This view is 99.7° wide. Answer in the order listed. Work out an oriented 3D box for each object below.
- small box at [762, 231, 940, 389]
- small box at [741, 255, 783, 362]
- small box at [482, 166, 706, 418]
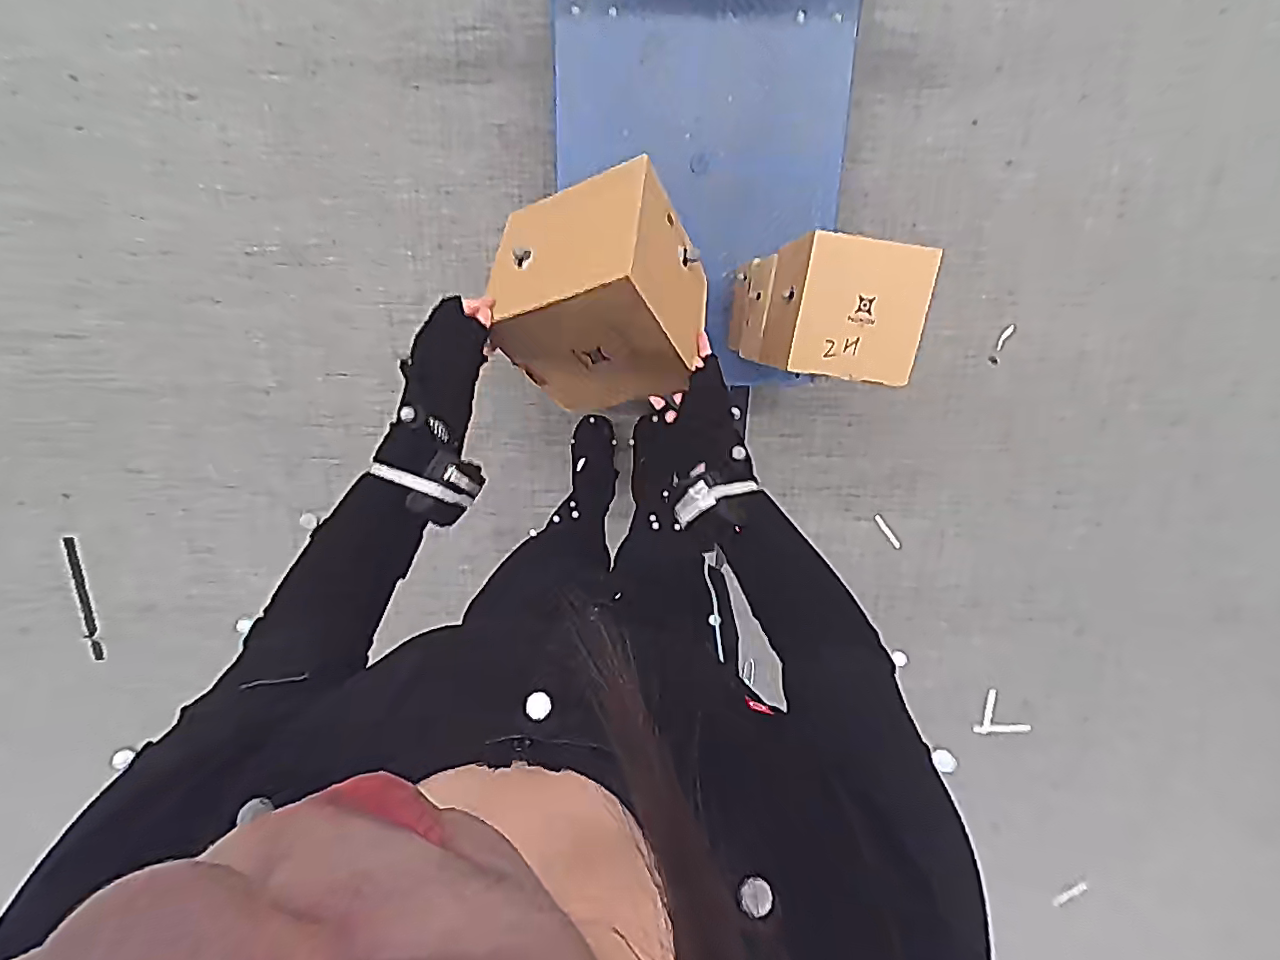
[{"bbox_3d":[0.283,-0.237,0.772,0.168,0.176,0.179,8,106,-3],"label":"small box"},{"bbox_3d":[0.282,-0.280,0.931,0.179,0.176,0.168,6,106,-3],"label":"small box"},{"bbox_3d":[-0.038,-0.192,0.589,0.179,0.176,0.168,-9,152,28],"label":"small box"}]
